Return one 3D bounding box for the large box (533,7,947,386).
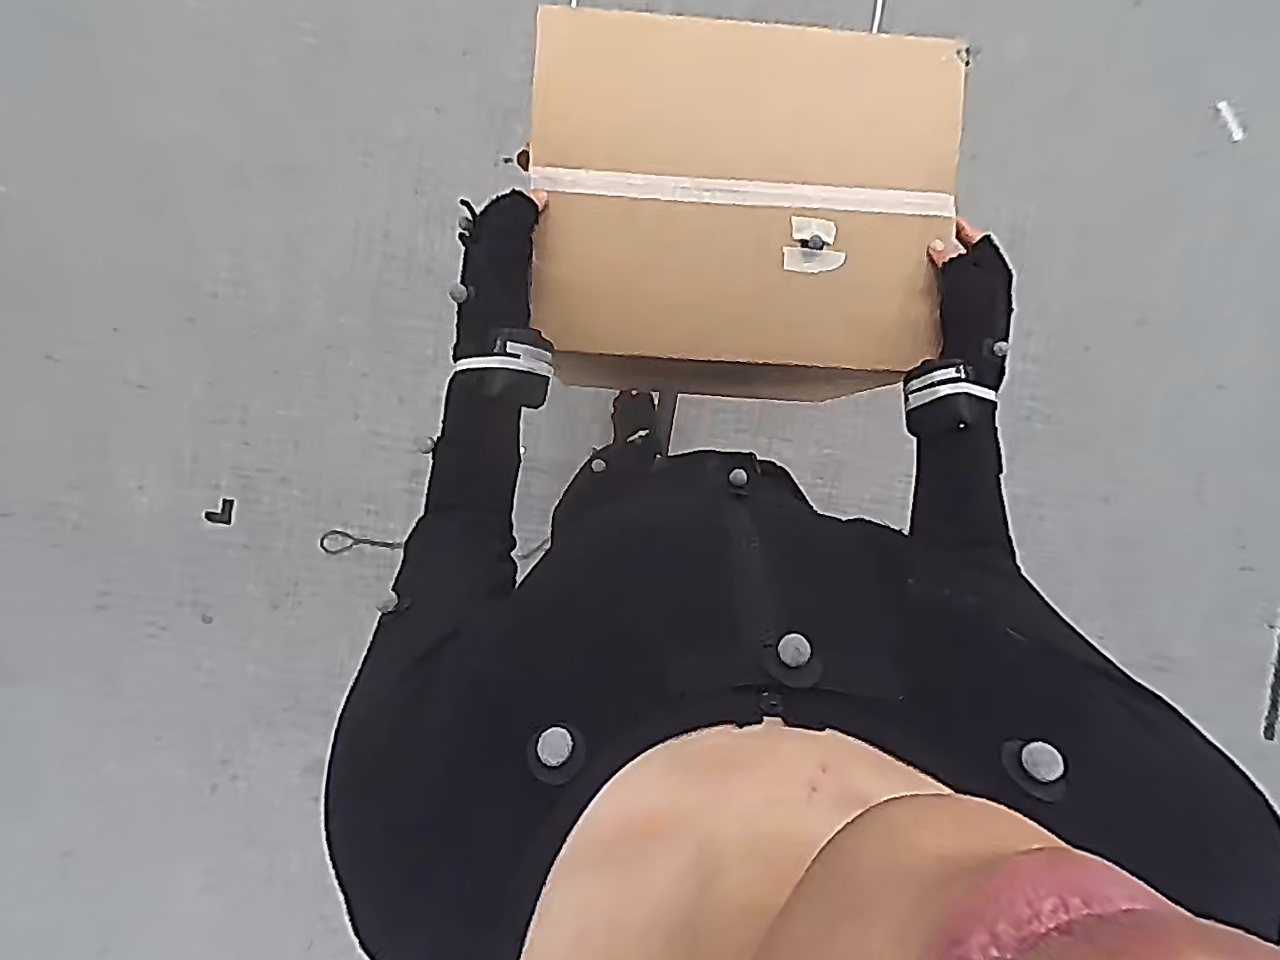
[{"bbox_3d":[0.090,-0.296,0.676,0.408,0.320,0.320,3,94,-3],"label":"large box"}]
